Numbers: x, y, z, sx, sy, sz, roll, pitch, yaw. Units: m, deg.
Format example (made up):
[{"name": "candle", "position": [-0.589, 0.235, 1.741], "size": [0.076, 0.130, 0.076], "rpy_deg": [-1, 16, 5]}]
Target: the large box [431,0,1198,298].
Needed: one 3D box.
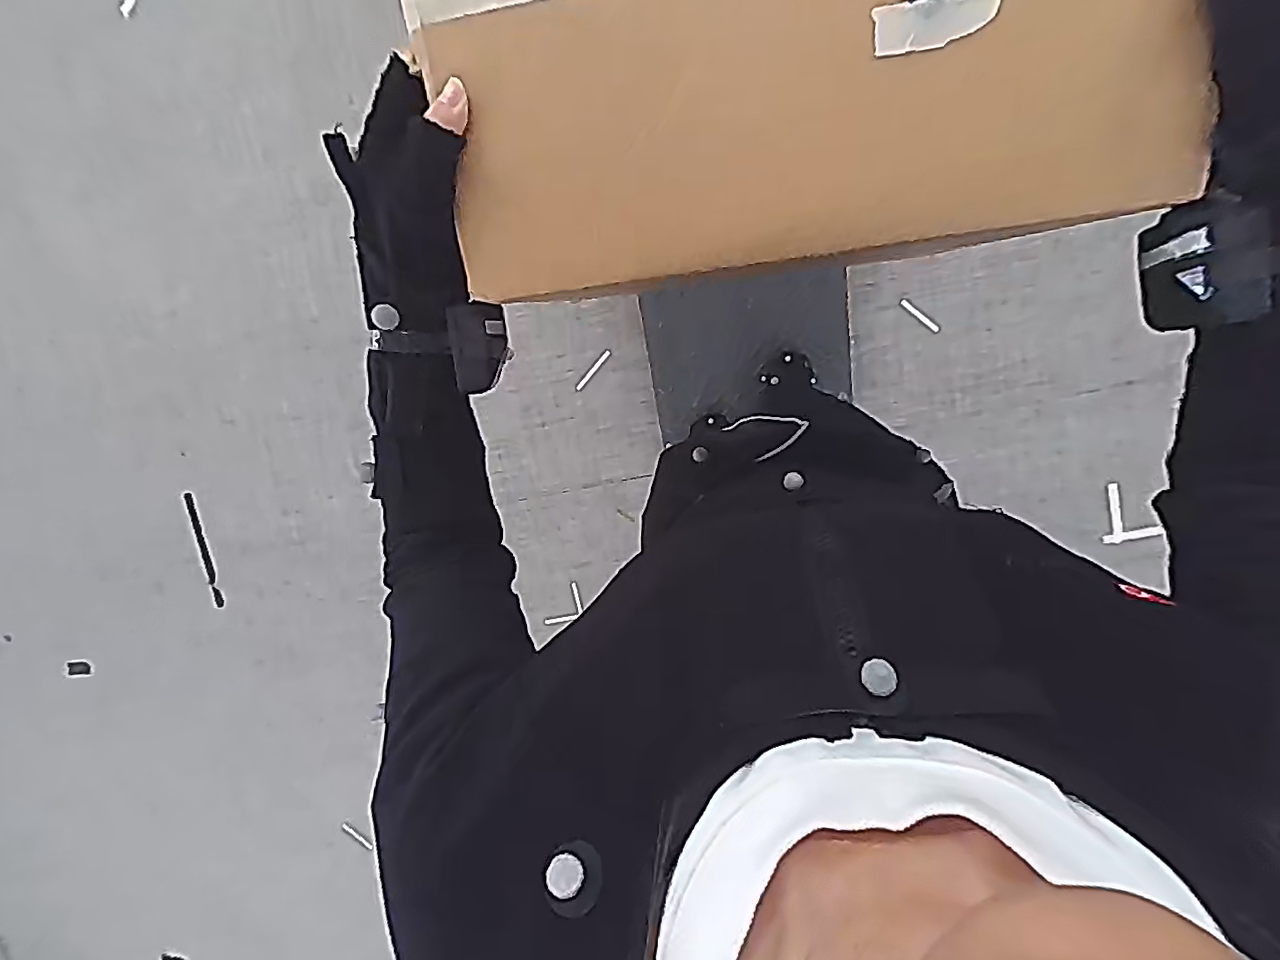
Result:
[{"name": "large box", "position": [0.090, -0.332, 0.421], "size": [0.408, 0.320, 0.320], "rpy_deg": [-6, 108, 8]}]
